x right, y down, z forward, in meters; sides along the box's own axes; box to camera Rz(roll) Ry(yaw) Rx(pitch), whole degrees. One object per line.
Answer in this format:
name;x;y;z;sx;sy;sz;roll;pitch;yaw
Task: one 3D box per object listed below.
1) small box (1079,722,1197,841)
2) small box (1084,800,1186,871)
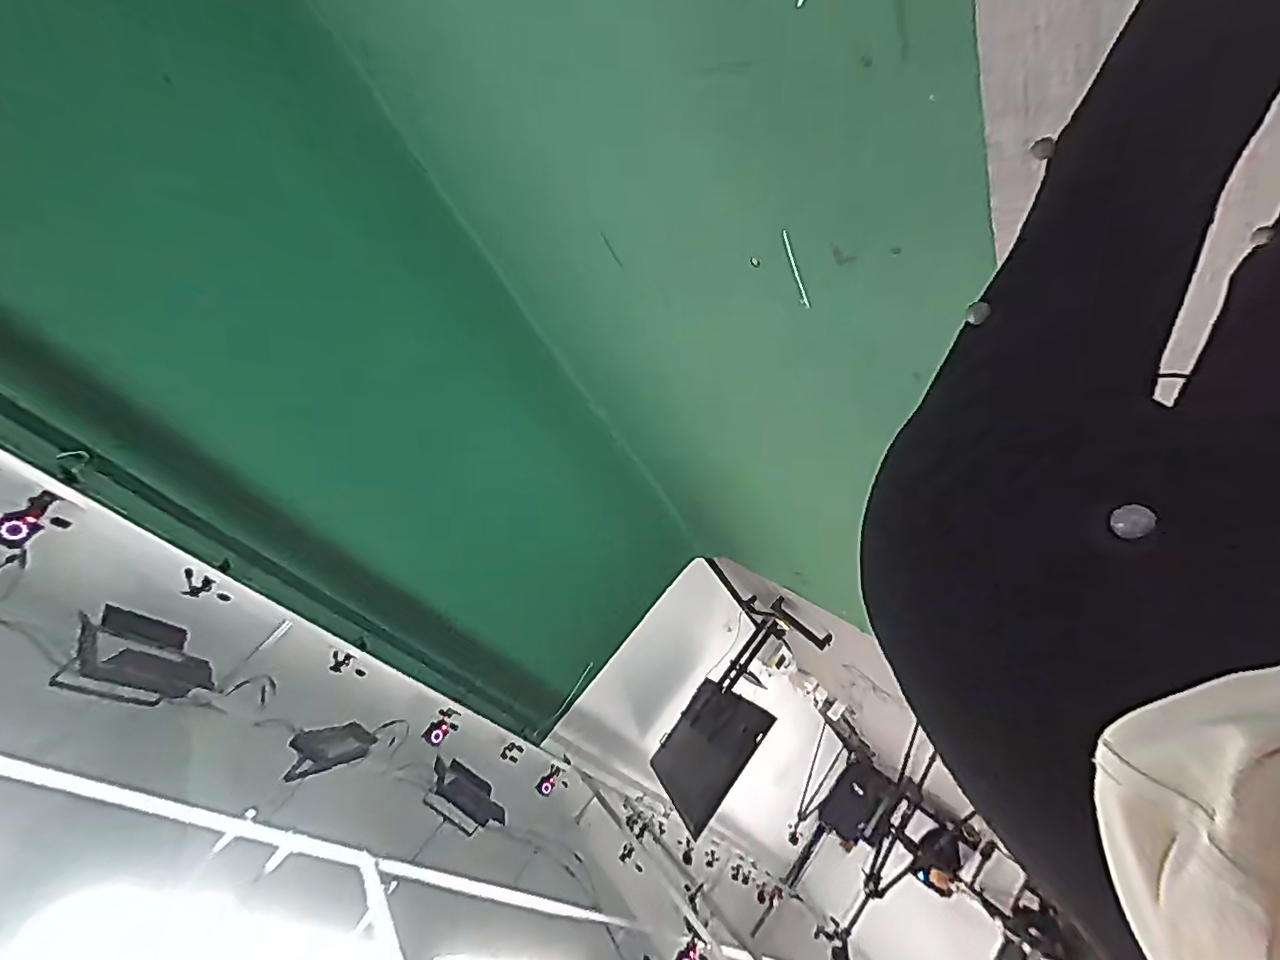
small box;1.203;0.726;1.312;0.168;0.176;0.179;24;158;48
small box;1.351;0.914;1.479;0.168;0.176;0.179;22;155;50
